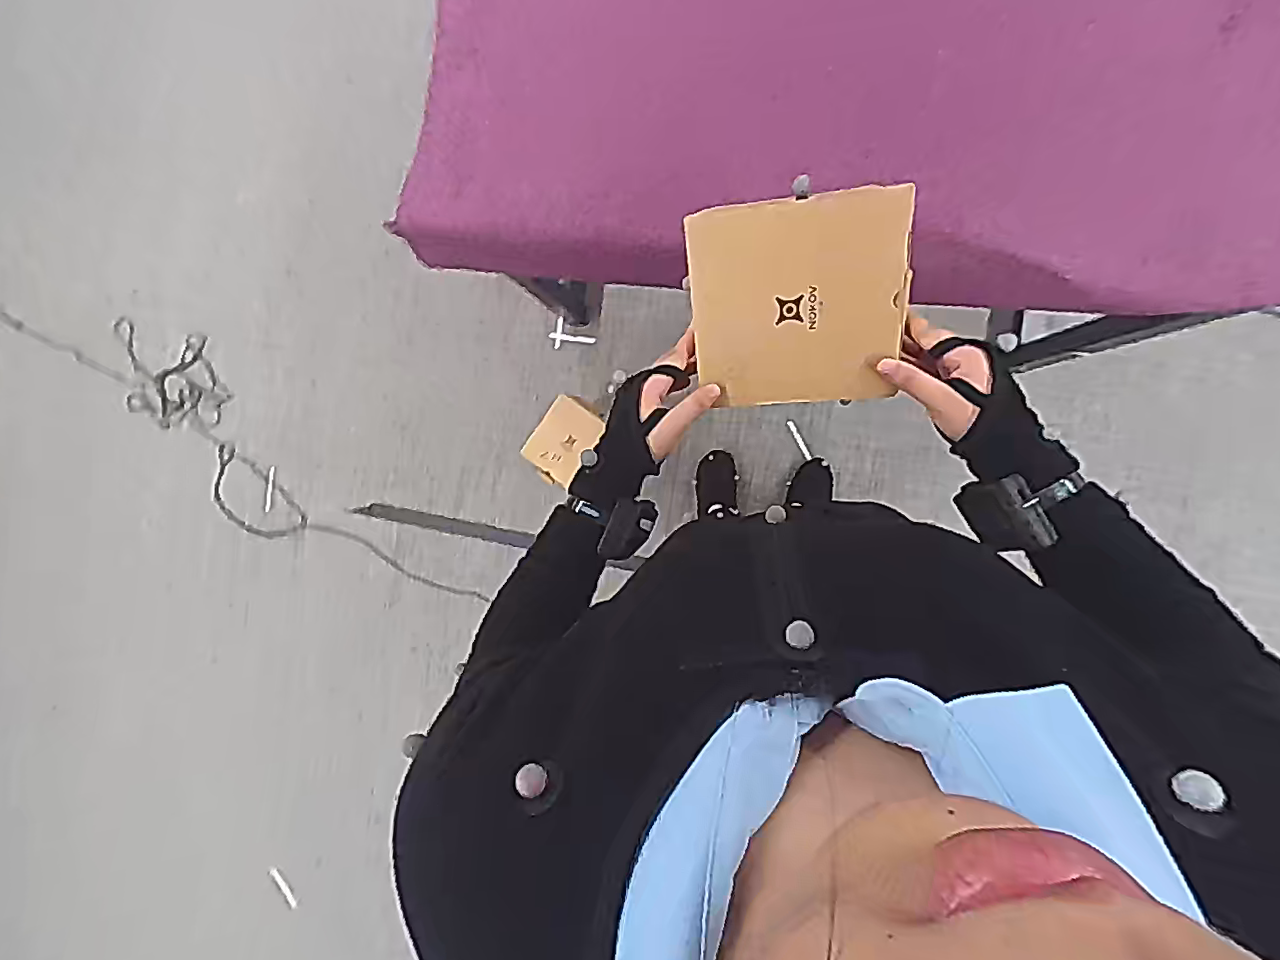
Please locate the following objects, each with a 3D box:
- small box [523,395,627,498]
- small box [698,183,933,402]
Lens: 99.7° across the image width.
[{"bbox_3d":[-0.145,-0.081,1.295,0.168,0.176,0.179,37,99,5],"label":"small box"},{"bbox_3d":[0.154,-0.180,0.520,0.179,0.176,0.168,-1,116,12],"label":"small box"}]
